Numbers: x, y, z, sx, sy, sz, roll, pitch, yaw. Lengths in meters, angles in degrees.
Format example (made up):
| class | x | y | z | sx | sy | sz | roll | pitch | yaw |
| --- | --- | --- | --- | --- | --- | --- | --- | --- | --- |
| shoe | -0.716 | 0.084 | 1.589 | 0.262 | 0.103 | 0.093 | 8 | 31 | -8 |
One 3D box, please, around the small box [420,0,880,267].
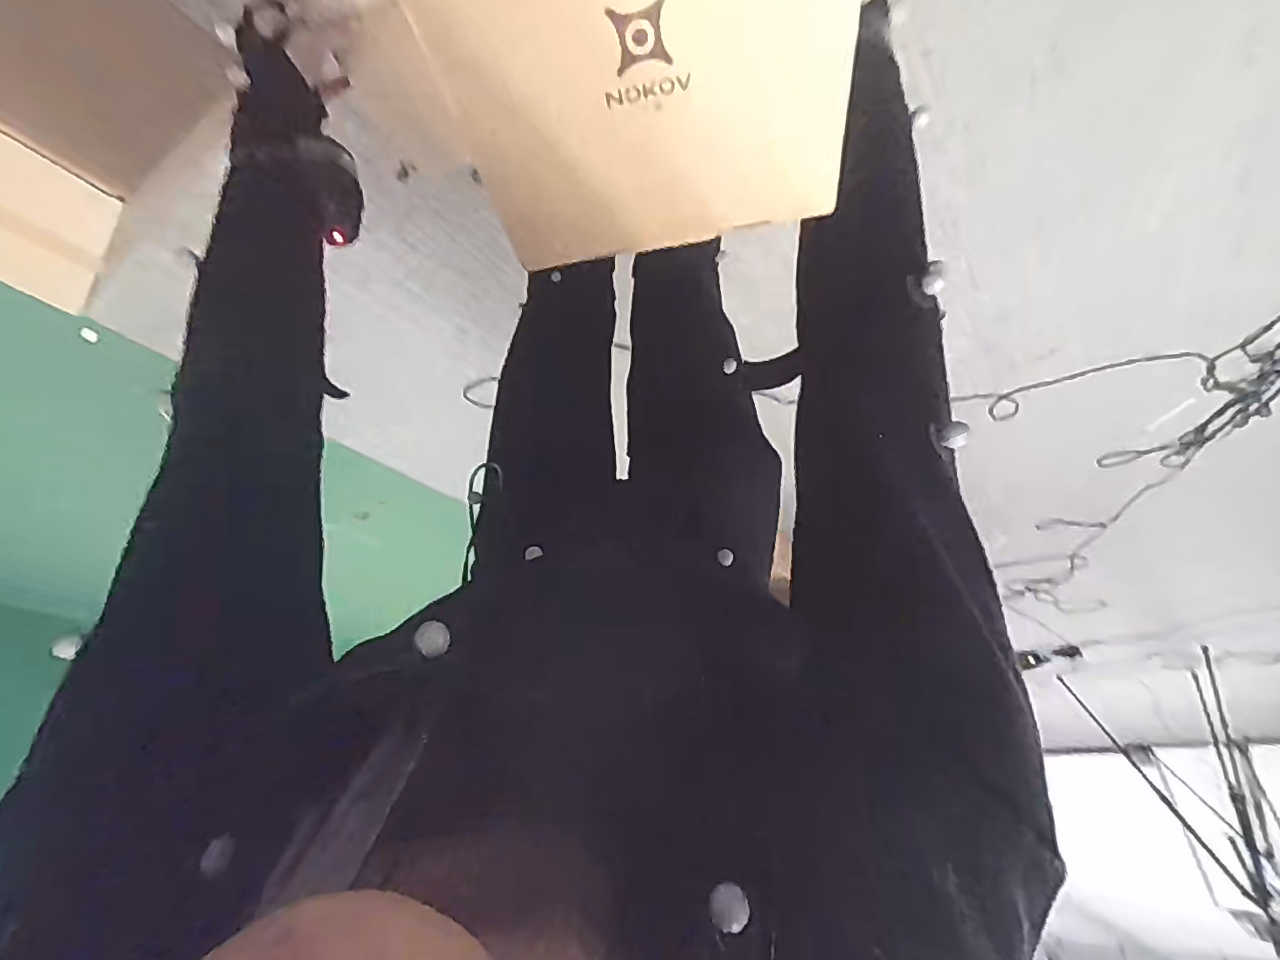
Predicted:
| class | x | y | z | sx | sy | sz | roll | pitch | yaw |
| --- | --- | --- | --- | --- | --- | --- | --- | --- | --- |
| small box | 0.003 | -0.236 | 0.245 | 0.168 | 0.176 | 0.179 | -8 | 150 | 9 |
